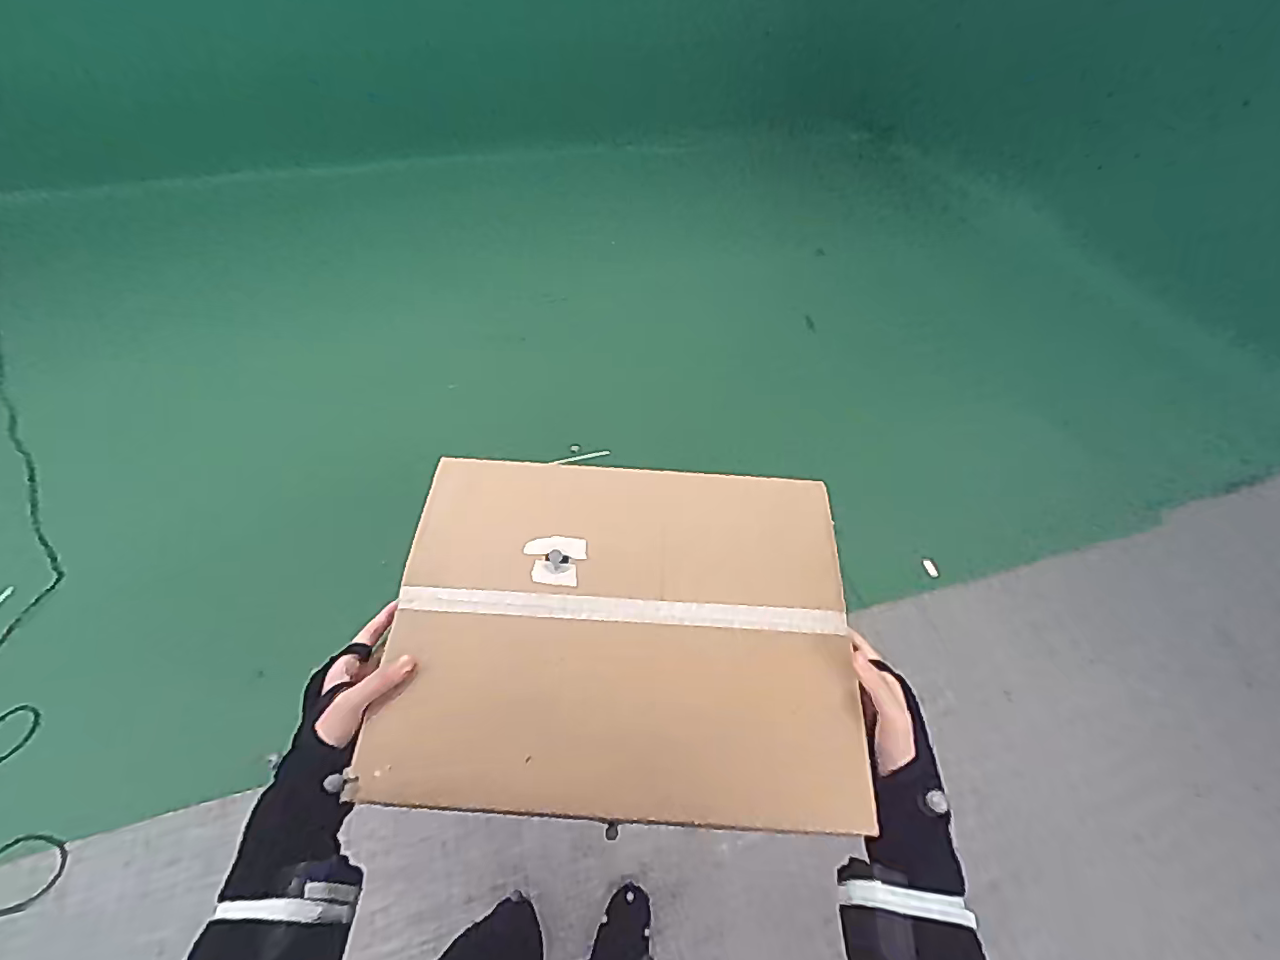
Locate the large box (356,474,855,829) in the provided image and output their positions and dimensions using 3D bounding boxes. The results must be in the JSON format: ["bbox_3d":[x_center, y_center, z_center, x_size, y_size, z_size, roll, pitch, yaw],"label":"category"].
[{"bbox_3d":[-0.022,0.208,0.629,0.408,0.320,0.320,3,58,1],"label":"large box"}]
